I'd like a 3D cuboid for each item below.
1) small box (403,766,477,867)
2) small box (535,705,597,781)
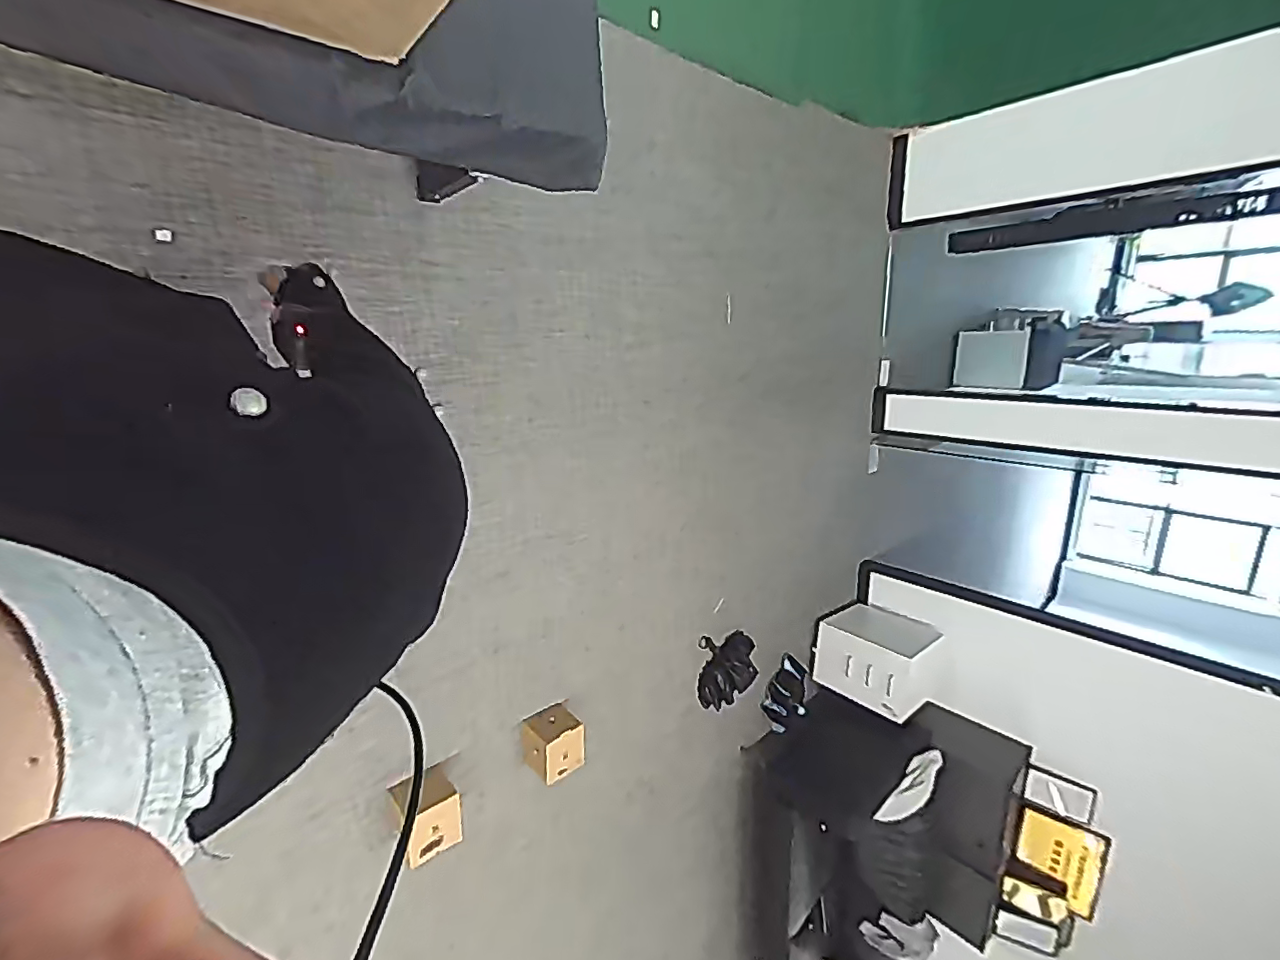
[{"bbox_3d":[-0.633,1.054,1.709,0.168,0.176,0.179,-12,106,-41],"label":"small box"},{"bbox_3d":[-0.279,0.969,2.018,0.168,0.176,0.179,-12,107,-40],"label":"small box"}]
